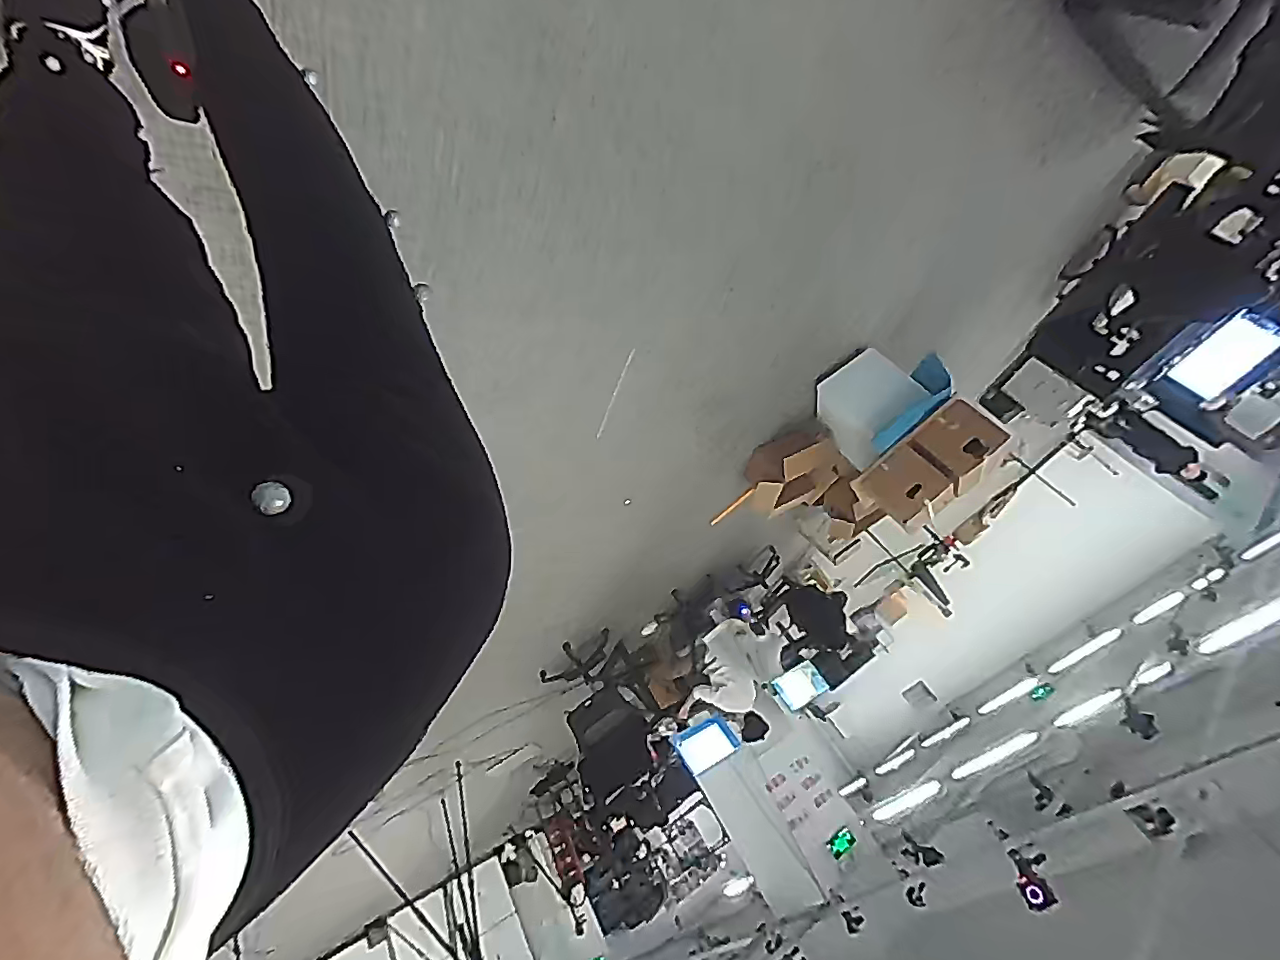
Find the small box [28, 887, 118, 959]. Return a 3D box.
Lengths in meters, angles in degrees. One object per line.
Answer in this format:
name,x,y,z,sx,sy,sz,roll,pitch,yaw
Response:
small box,-1.678,1.356,1.605,0.168,0.176,0.179,-9,141,-41

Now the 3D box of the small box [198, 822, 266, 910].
small box,-1.382,1.301,1.833,0.168,0.176,0.179,-9,141,-39
